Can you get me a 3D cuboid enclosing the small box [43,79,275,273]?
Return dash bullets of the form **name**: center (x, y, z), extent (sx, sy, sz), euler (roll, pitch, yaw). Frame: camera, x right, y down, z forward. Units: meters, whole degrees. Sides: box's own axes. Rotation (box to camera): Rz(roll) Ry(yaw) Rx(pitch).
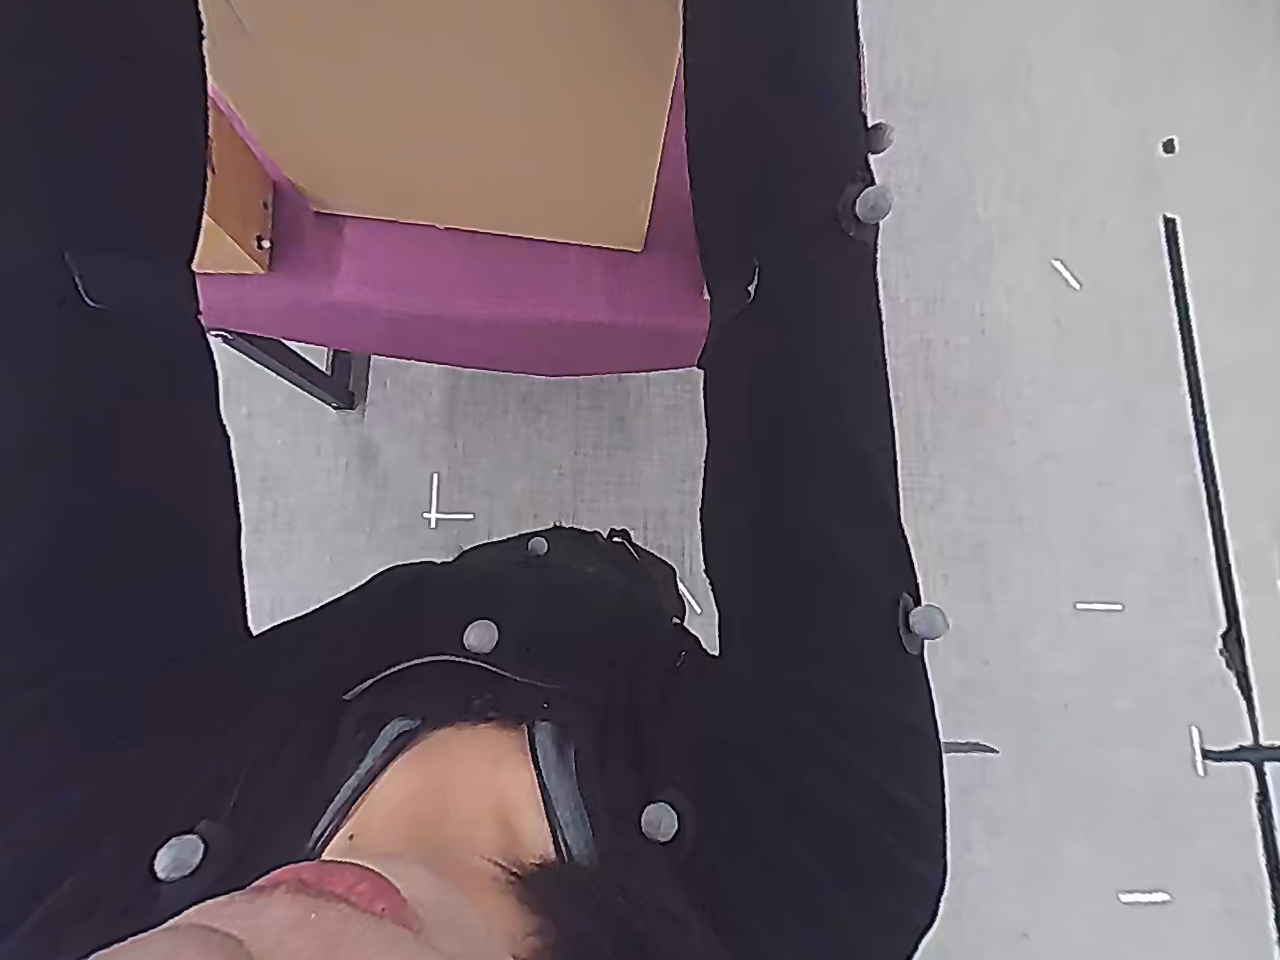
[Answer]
- **small box**: center (-0.640, -0.405, 0.747), extent (0.179, 0.176, 0.168), euler (-2, 79, -7)
